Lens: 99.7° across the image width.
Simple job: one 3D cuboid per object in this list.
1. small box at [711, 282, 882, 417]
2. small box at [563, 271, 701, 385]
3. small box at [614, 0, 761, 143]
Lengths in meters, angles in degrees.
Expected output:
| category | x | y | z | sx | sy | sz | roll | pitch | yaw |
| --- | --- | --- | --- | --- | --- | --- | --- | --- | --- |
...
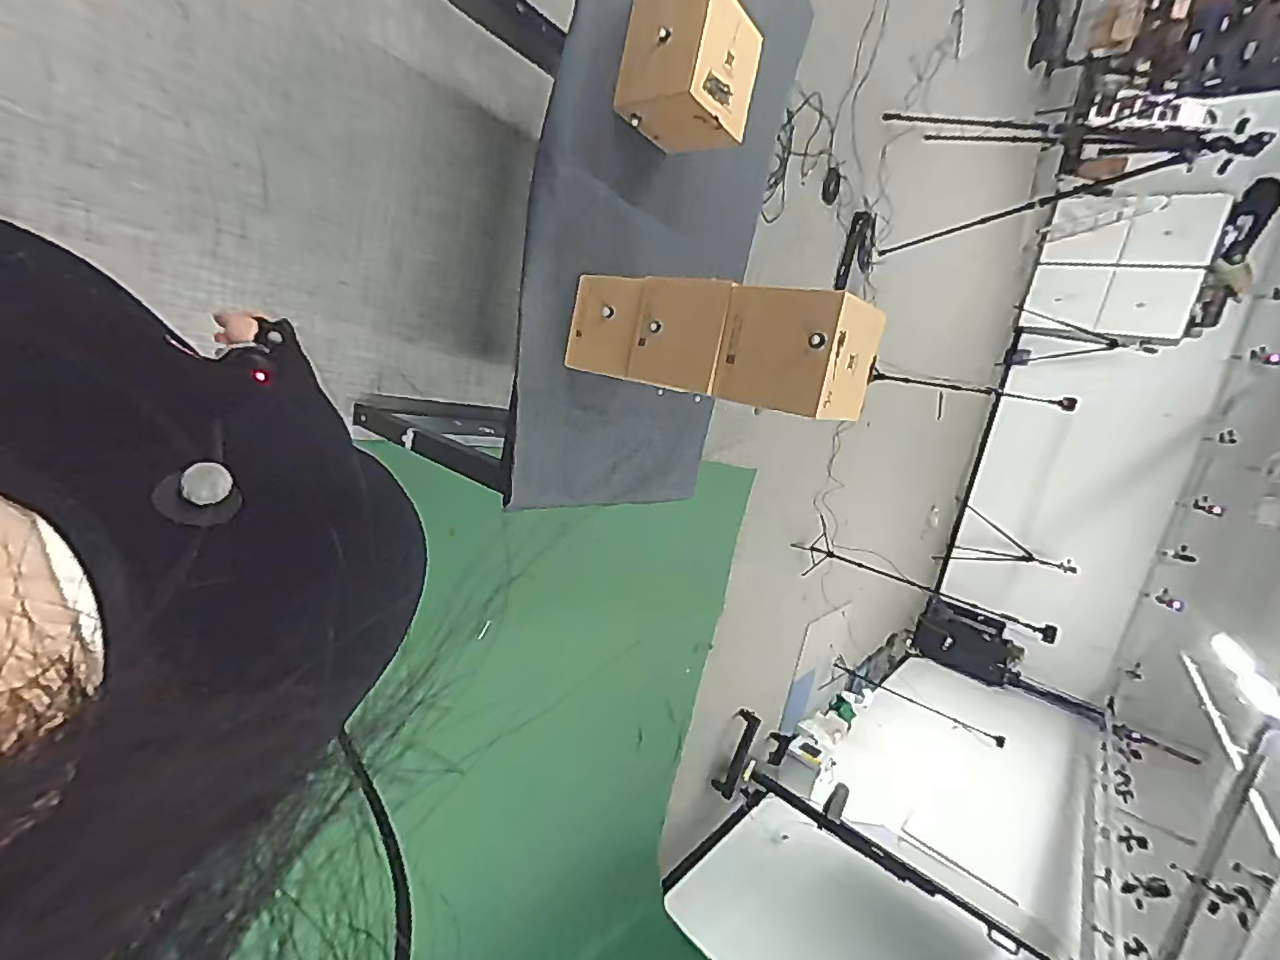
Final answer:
| category | x | y | z | sx | sy | sz | roll | pitch | yaw |
| --- | --- | --- | --- | --- | --- | --- | --- | --- | --- |
| small box | 0.231 | -0.192 | 0.802 | 0.179 | 0.176 | 0.168 | -6 | 110 | -51 |
| small box | -0.018 | -0.279 | 0.999 | 0.179 | 0.176 | 0.168 | -1 | 106 | -52 |
| small box | 0.077 | -0.707 | 0.923 | 0.168 | 0.176 | 0.179 | 1 | 105 | -52 |
